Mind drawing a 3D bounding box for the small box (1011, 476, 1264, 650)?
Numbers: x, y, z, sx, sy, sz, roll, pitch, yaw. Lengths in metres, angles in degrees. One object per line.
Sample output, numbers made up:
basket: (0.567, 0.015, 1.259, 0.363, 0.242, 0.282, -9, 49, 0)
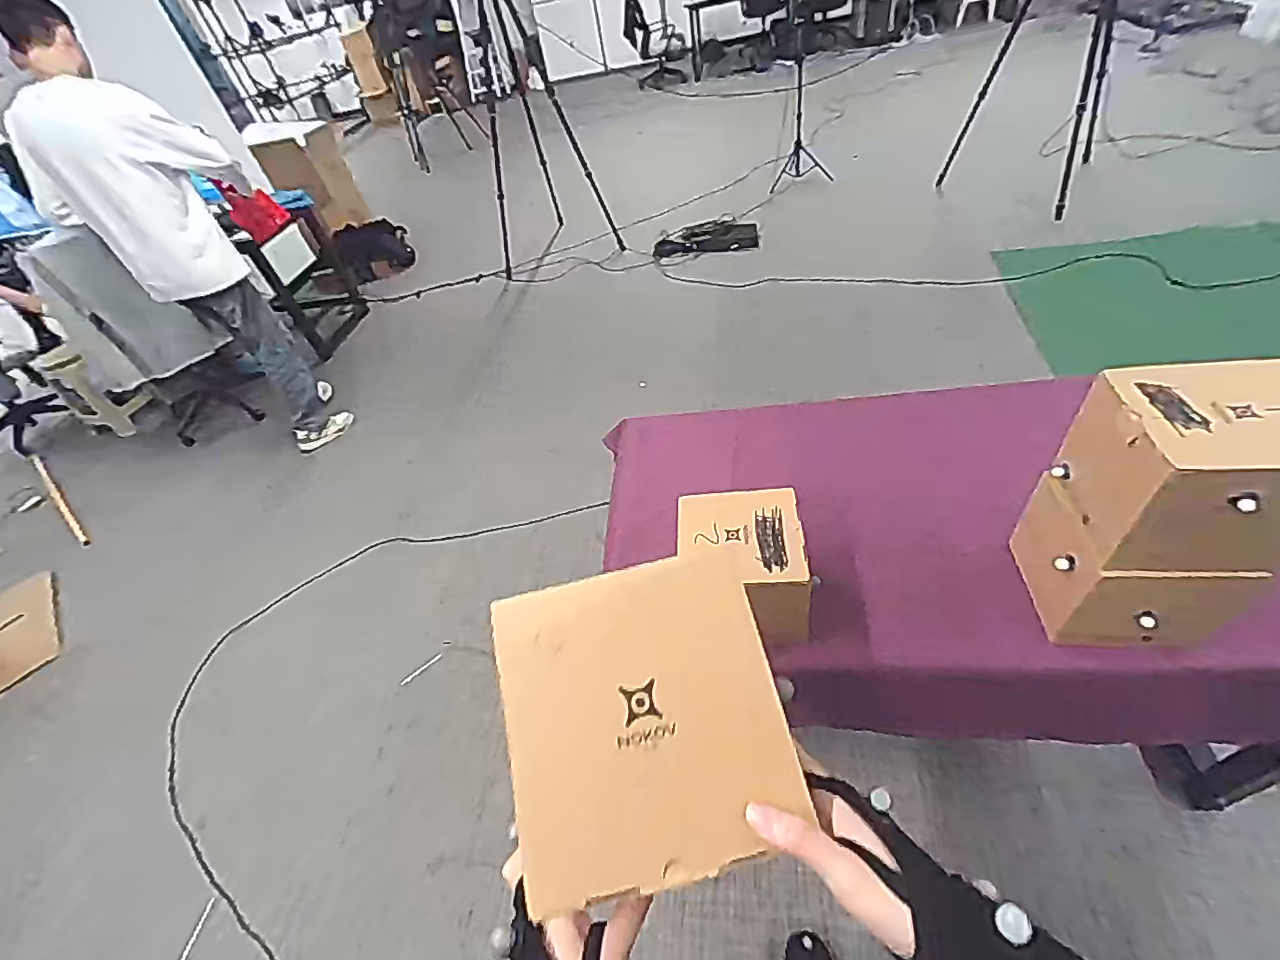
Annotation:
small box: (0.637, 0.112, 0.725, 0.168, 0.176, 0.179, -1, 46, 12)

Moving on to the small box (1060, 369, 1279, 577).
small box: (0.616, -0.004, 0.610, 0.179, 0.176, 0.168, -1, 47, 12)
